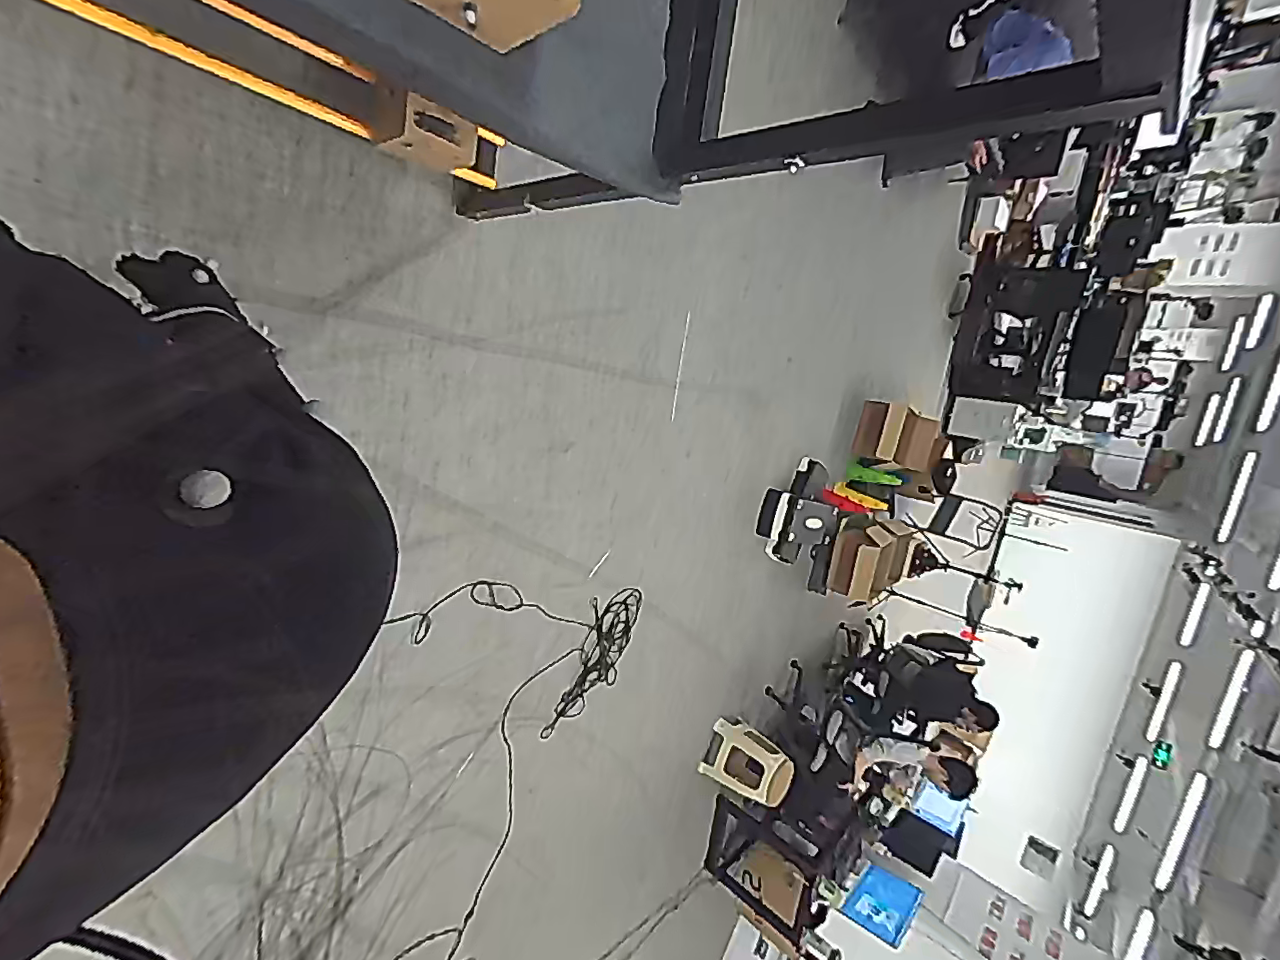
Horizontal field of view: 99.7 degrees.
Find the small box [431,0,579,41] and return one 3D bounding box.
[{"bbox_3d":[-0.179,-0.678,0.639,0.168,0.176,0.179,-6,107,-47],"label":"small box"}]
